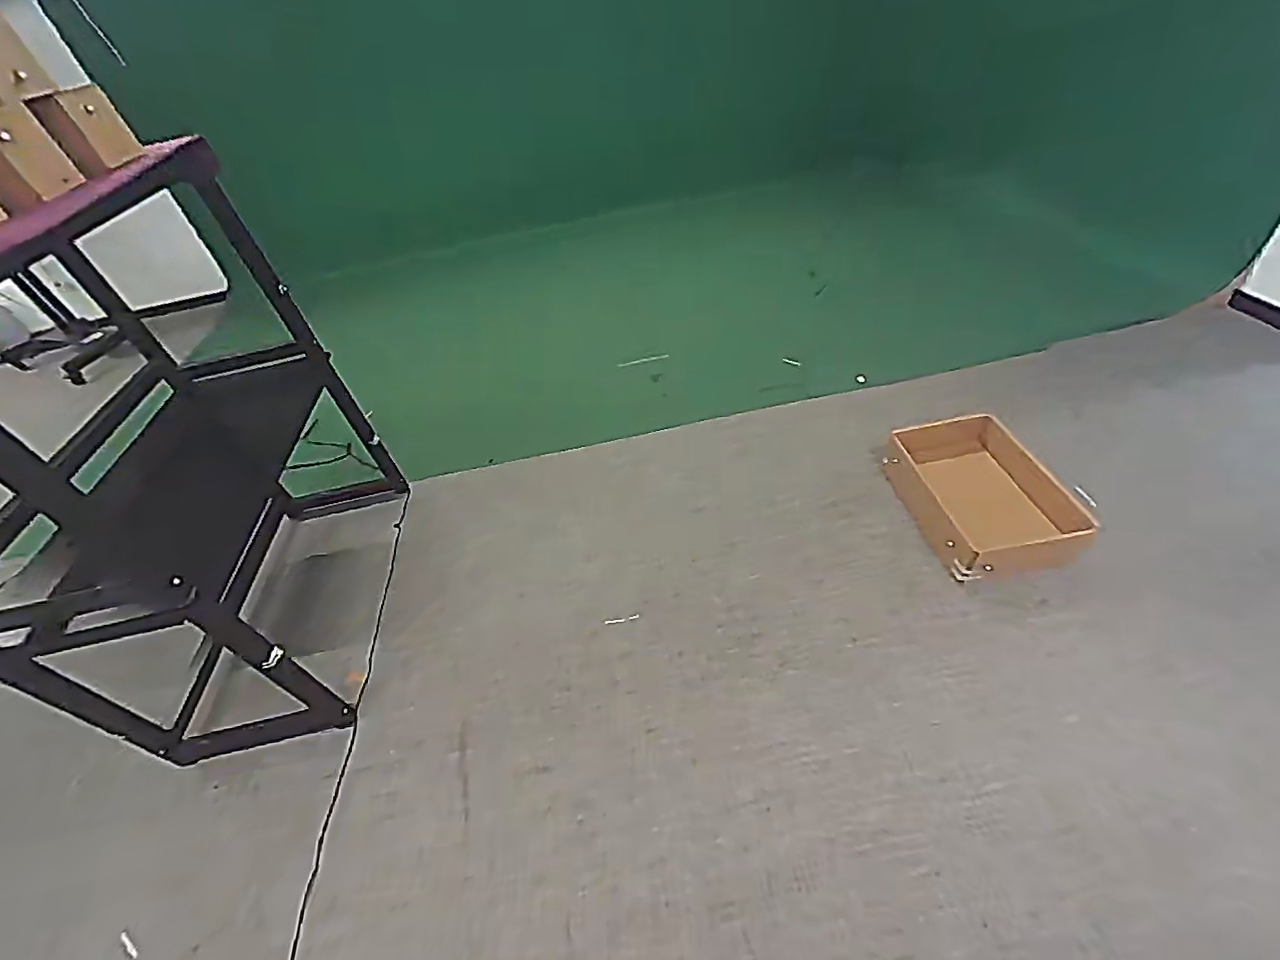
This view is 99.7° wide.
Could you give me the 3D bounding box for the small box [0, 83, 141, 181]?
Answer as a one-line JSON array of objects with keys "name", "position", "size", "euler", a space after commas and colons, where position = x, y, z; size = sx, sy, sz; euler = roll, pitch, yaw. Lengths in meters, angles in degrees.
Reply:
[{"name": "small box", "position": [-1.457, -0.888, 1.389], "size": [0.168, 0.176, 0.179], "euler": [-13, 44, 0]}]
